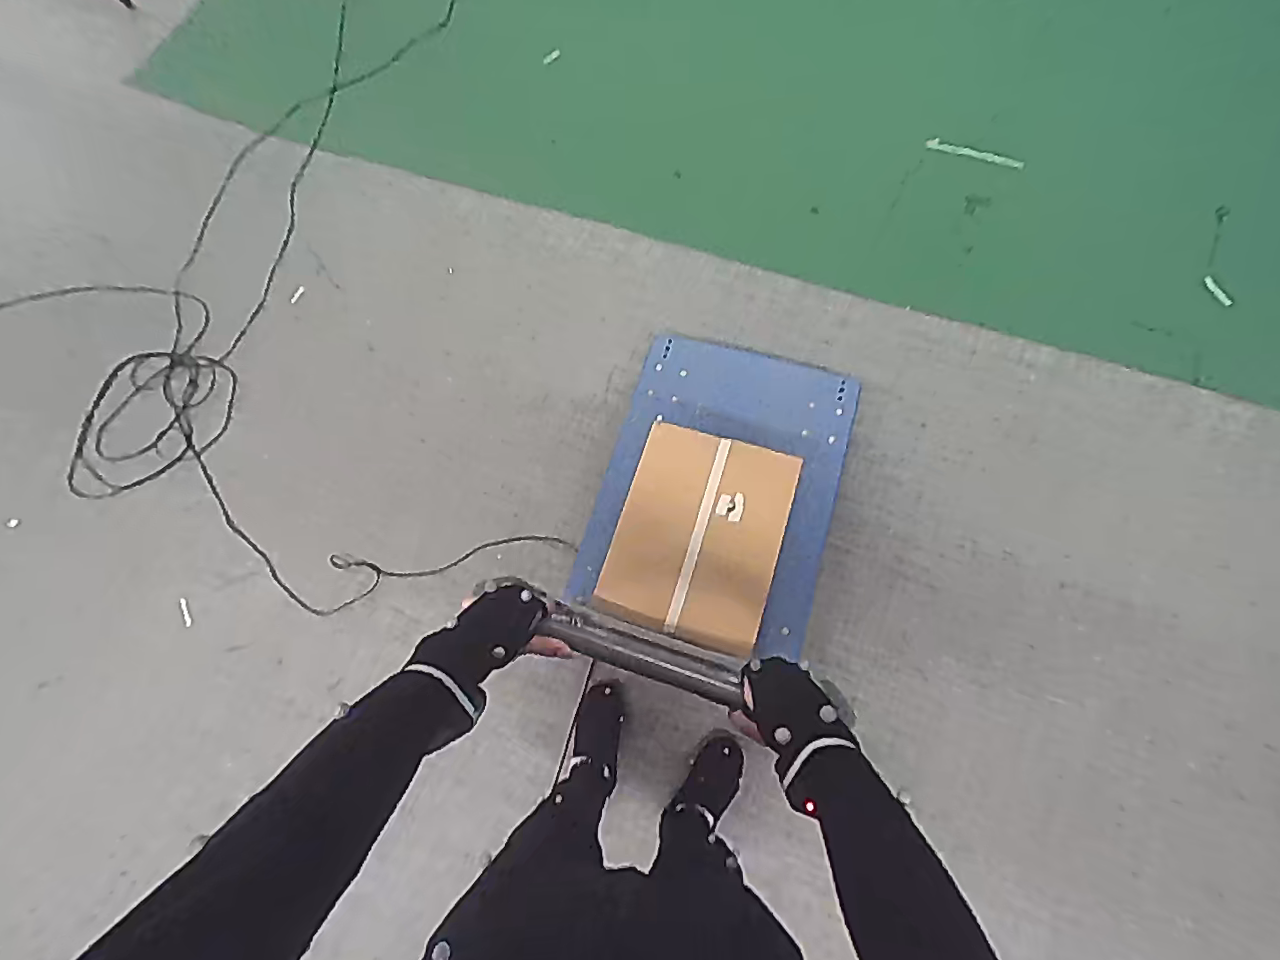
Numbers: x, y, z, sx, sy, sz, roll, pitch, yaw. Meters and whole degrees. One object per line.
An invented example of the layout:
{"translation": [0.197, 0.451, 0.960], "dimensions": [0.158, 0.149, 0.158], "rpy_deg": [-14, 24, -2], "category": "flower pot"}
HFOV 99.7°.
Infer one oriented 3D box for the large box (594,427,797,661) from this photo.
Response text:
{"translation": [0.128, 0.155, 1.186], "dimensions": [0.320, 0.320, 0.408], "rpy_deg": [16, 74, 11], "category": "large box"}
